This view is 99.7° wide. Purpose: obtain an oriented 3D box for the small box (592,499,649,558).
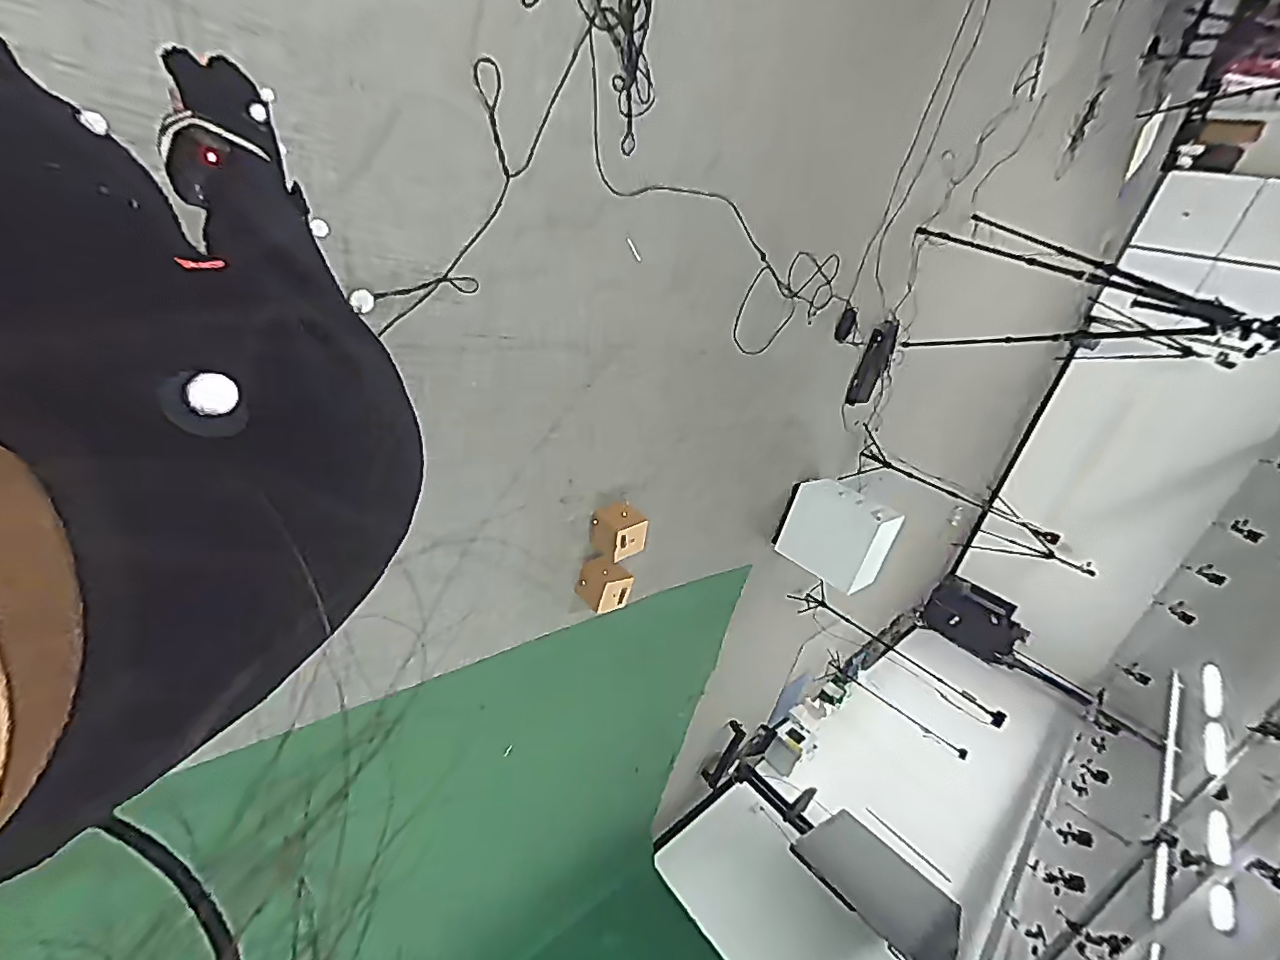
[{"bbox_3d":[-0.088,0.205,2.334,0.179,0.176,0.168,-18,129,-40],"label":"small box"}]
